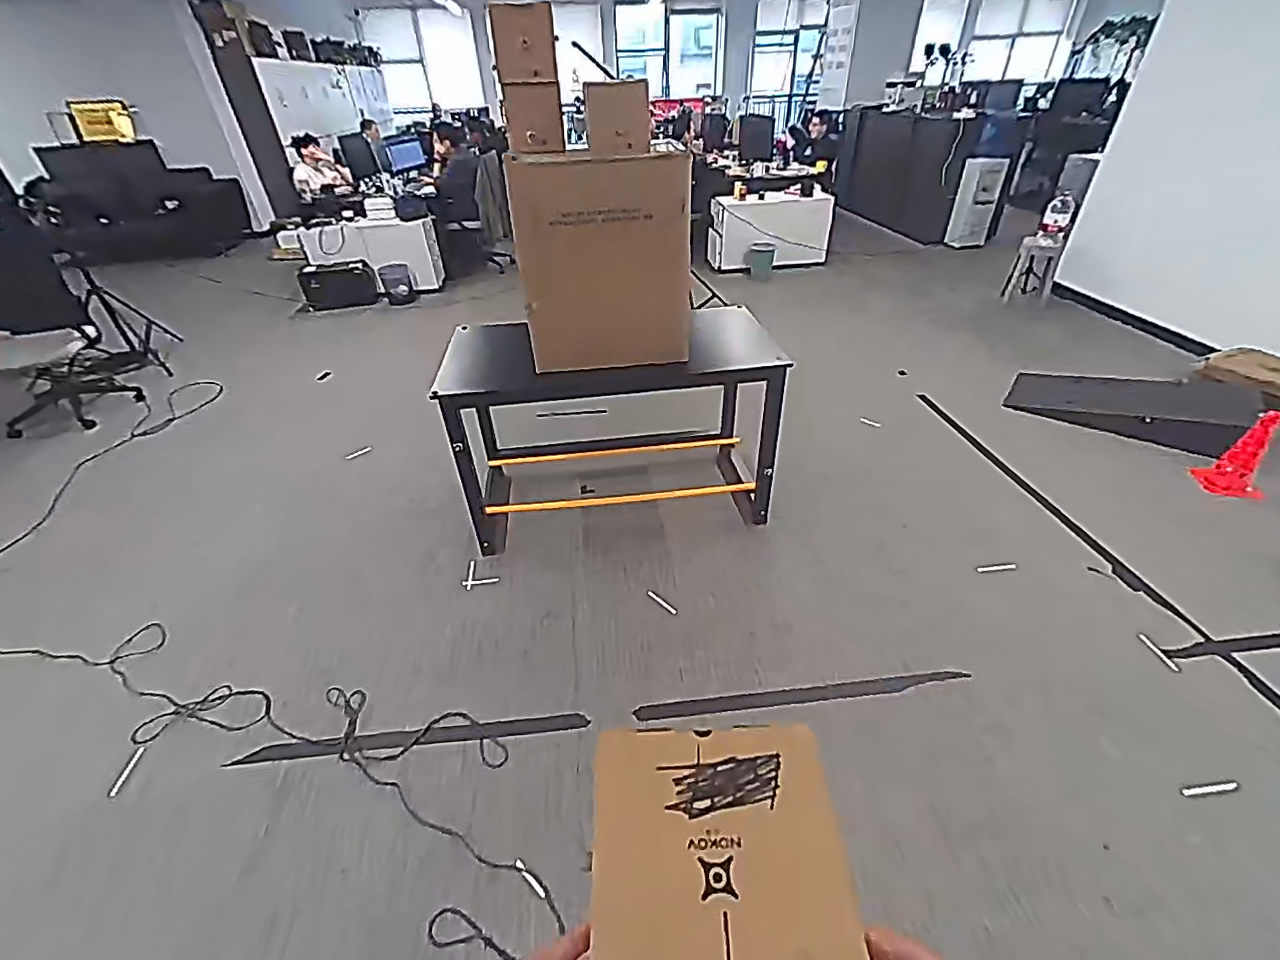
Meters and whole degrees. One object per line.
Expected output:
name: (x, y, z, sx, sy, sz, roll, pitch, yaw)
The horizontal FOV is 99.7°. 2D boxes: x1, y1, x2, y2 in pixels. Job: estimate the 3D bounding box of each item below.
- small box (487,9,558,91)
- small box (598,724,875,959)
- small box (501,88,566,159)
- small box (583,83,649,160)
small box: (-0.321, -1.185, 1.500, 0.168, 0.176, 0.179, -7, 37, -6)
small box: (0.056, 0.309, 0.408, 0.168, 0.176, 0.179, -3, 42, 0)
small box: (-0.315, -1.061, 1.610, 0.168, 0.176, 0.179, -8, 37, -7)
small box: (-0.069, -1.008, 1.521, 0.168, 0.176, 0.179, -8, 38, -5)
